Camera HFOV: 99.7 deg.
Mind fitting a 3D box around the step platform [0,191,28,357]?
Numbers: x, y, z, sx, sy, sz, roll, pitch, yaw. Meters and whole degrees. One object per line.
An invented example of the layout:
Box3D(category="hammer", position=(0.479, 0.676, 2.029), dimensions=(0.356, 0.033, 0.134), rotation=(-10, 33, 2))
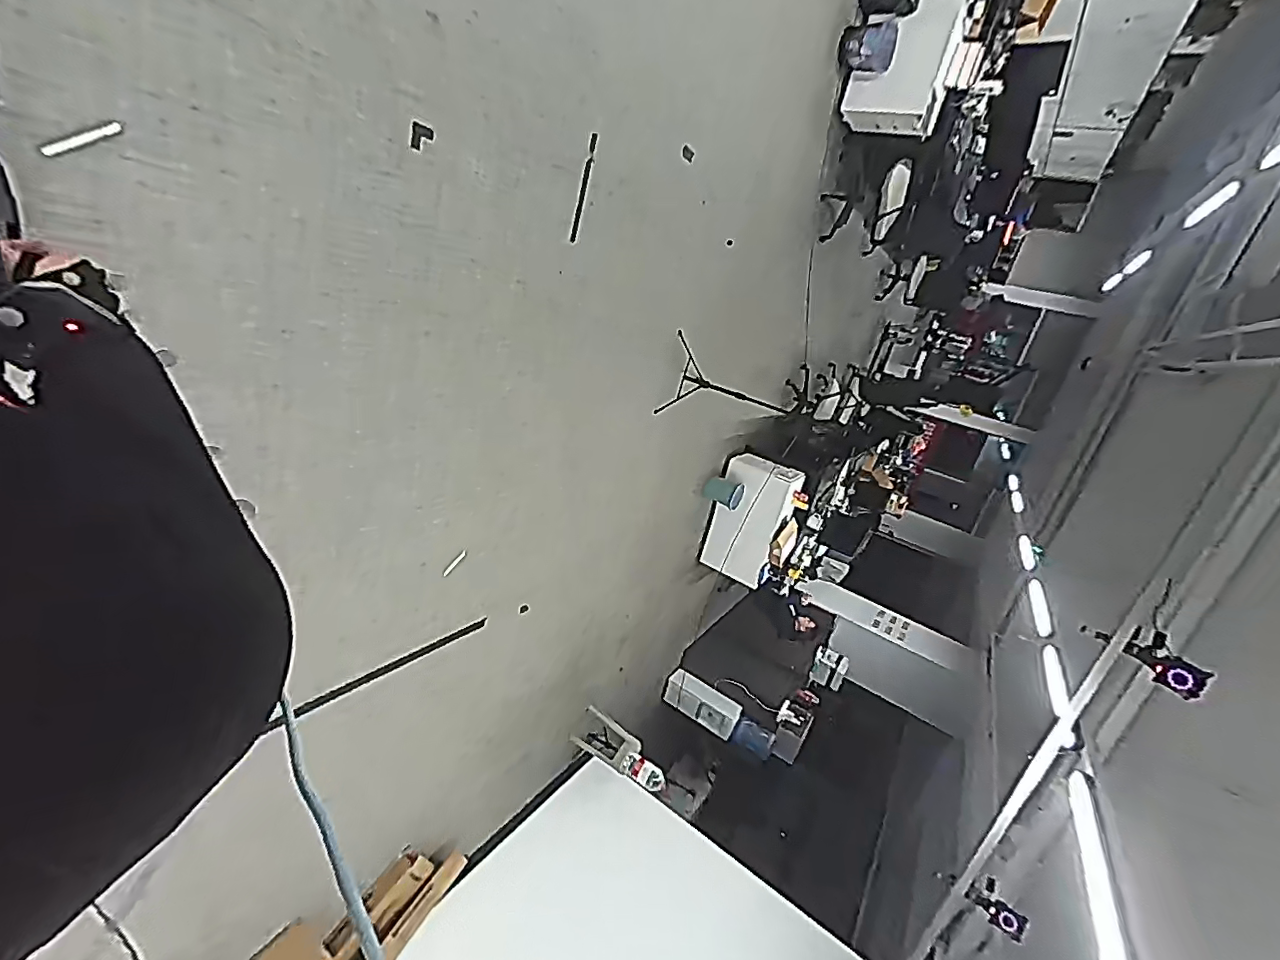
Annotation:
Box3D(category="step platform", position=(-1.286, -0.343, 0.681), dimensions=(0.684, 0.204, 0.286), rotation=(-7, 116, -57))
